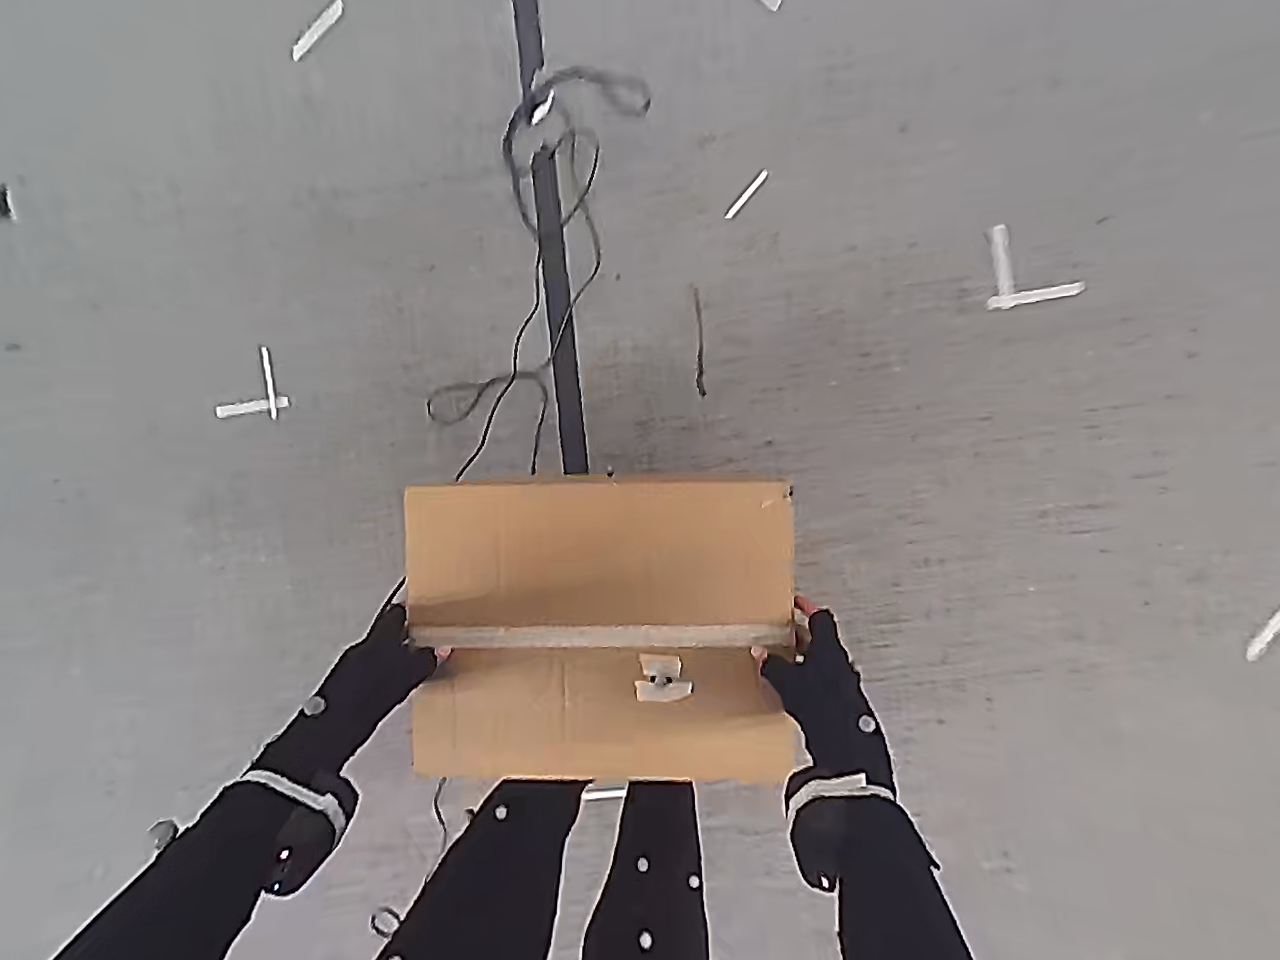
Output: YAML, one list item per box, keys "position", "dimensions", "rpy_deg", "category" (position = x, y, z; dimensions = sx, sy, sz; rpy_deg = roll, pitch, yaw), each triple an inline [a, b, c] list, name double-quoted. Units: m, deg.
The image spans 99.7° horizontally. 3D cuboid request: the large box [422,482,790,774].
- position: [-0.035, 0.165, 0.741]
  dimensions: [0.408, 0.320, 0.320]
  rpy_deg: [-1, 93, 2]
  category: "large box"
